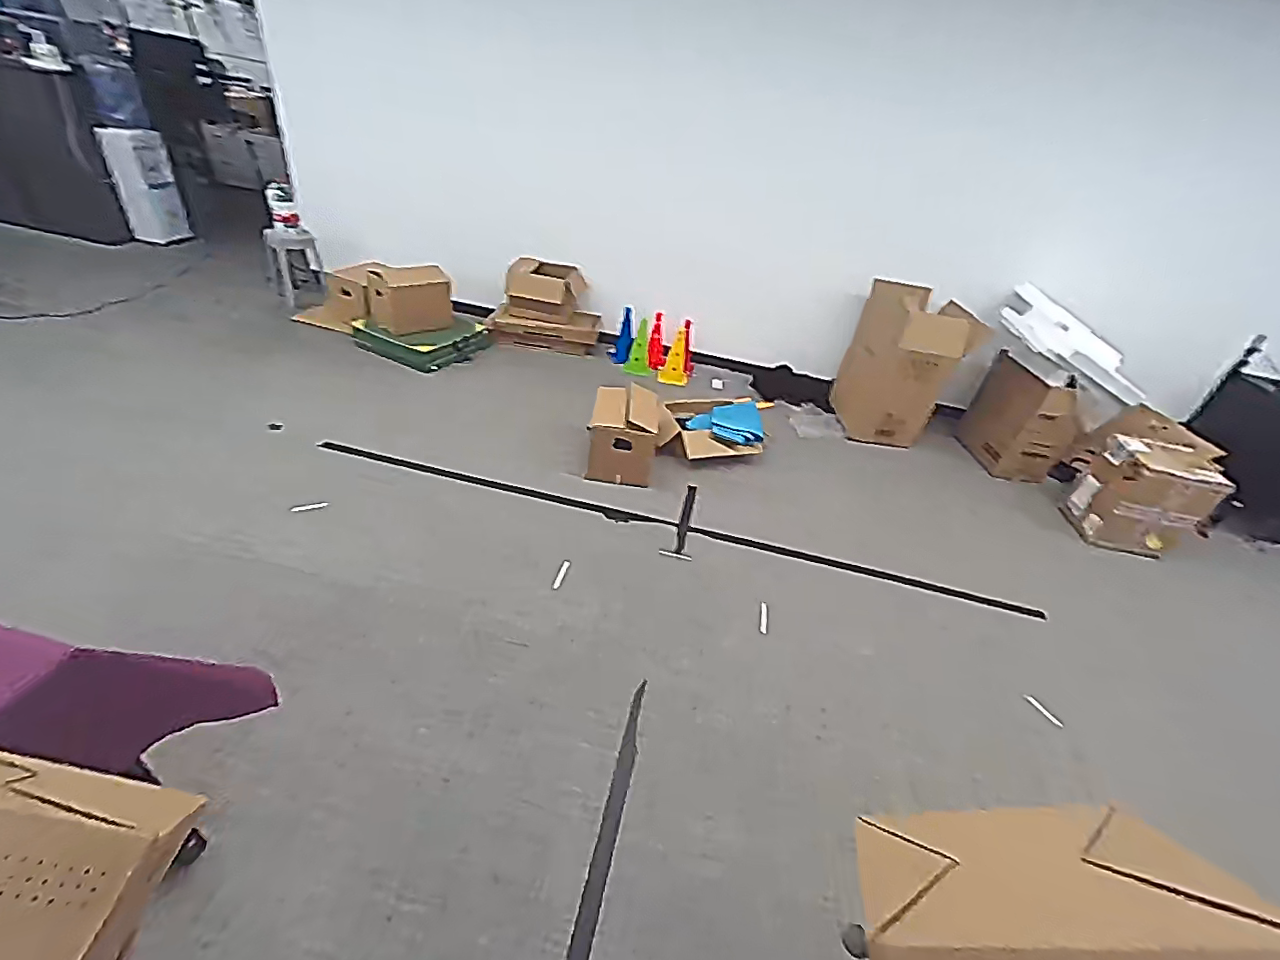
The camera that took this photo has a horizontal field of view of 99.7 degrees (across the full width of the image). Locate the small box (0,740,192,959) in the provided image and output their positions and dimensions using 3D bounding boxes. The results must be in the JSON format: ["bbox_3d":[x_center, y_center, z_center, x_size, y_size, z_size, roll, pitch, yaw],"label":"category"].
[{"bbox_3d":[-0.371,0.236,0.271,0.179,0.168,0.176,27,56,-18],"label":"small box"}]
